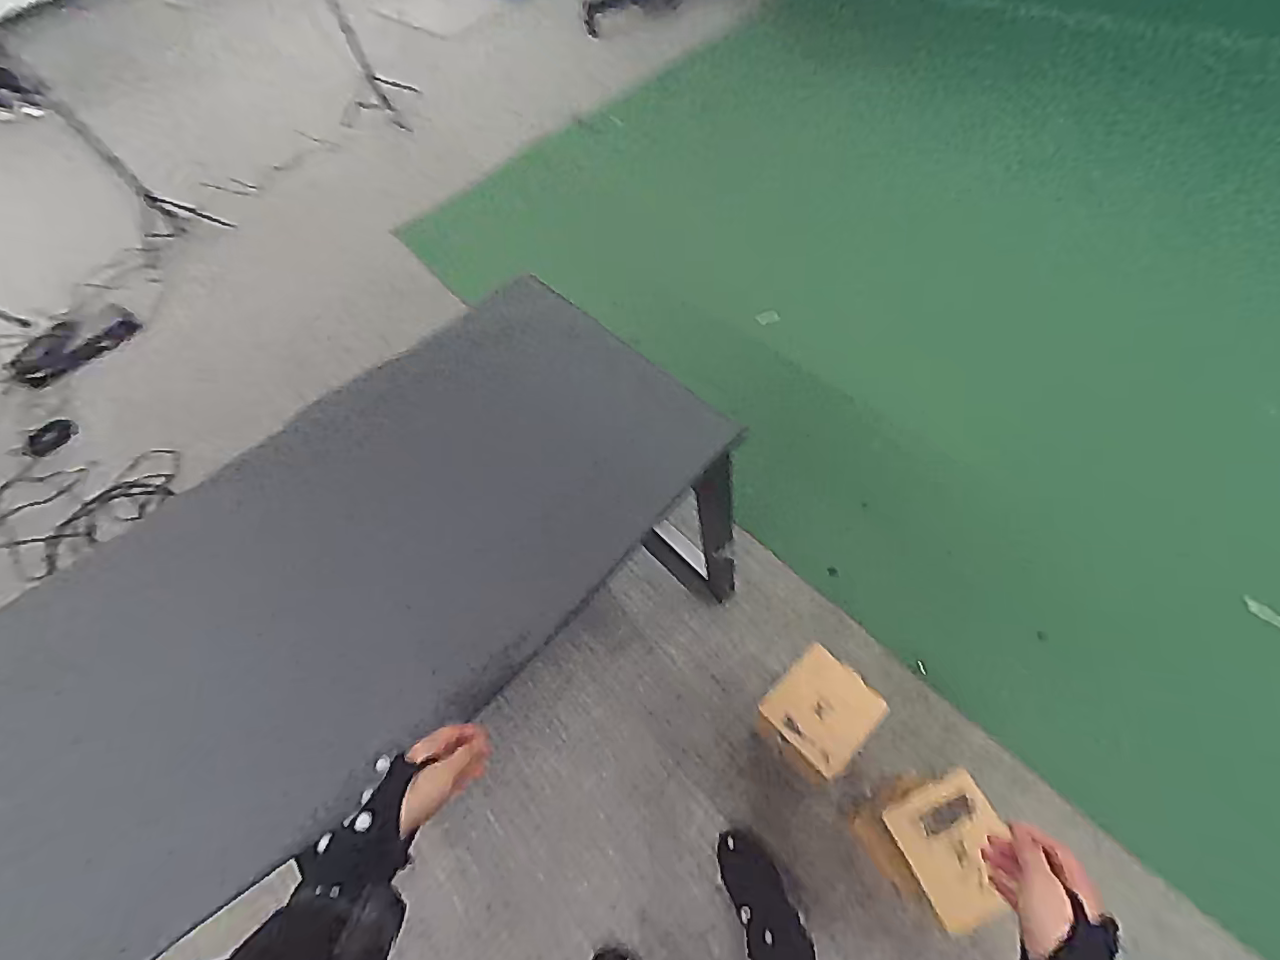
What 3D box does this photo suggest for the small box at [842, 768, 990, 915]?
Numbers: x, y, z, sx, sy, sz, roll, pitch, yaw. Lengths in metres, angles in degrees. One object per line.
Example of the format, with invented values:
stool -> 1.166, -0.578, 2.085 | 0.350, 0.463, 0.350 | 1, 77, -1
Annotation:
small box -> 0.527, 0.696, 1.062 | 0.168, 0.176, 0.179 | -33, 60, -9

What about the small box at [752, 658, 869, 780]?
small box -> 0.367, 0.527, 1.190 | 0.168, 0.176, 0.179 | -42, 61, -15
